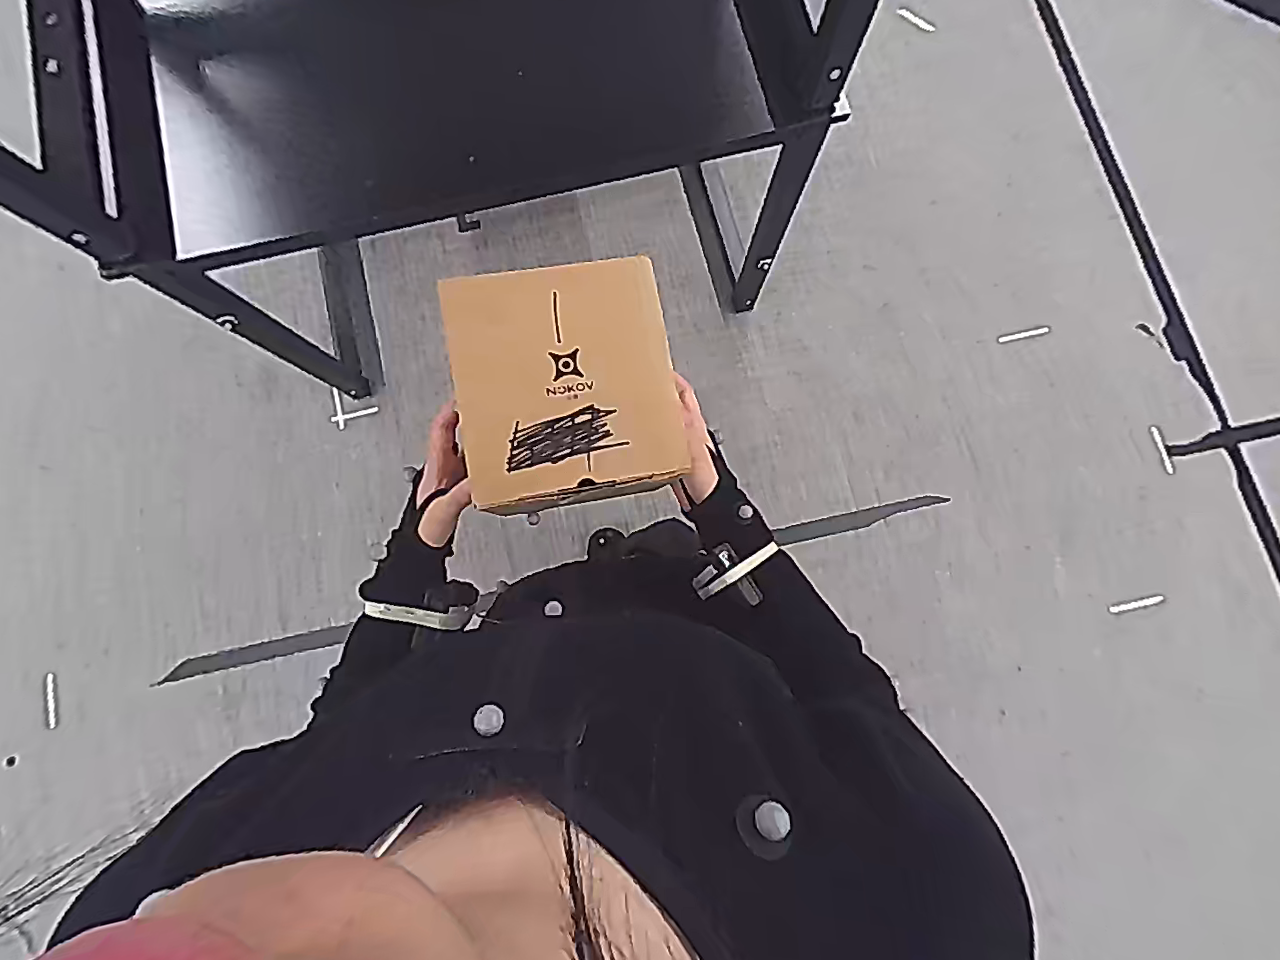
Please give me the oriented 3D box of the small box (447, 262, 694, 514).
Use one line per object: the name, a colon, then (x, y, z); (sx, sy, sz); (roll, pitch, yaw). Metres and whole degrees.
small box: (-0.061, -0.066, 0.485); (0.168, 0.176, 0.179); (-10, 84, -9)
